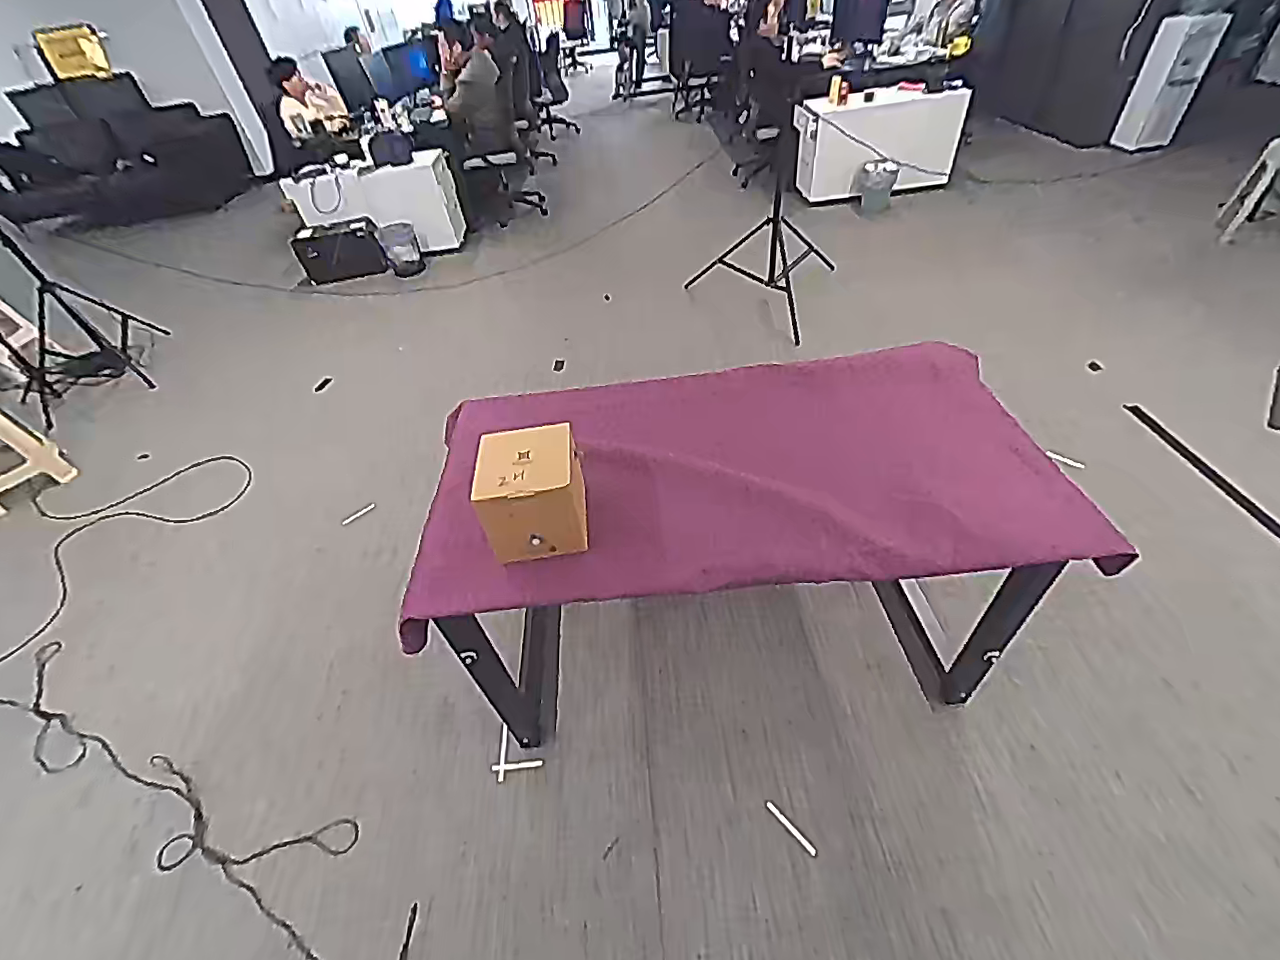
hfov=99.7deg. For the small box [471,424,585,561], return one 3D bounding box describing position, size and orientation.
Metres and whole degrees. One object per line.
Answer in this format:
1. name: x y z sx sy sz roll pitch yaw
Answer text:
1. small box: -0.196 0.023 0.996 0.168 0.176 0.179 -9 44 0
